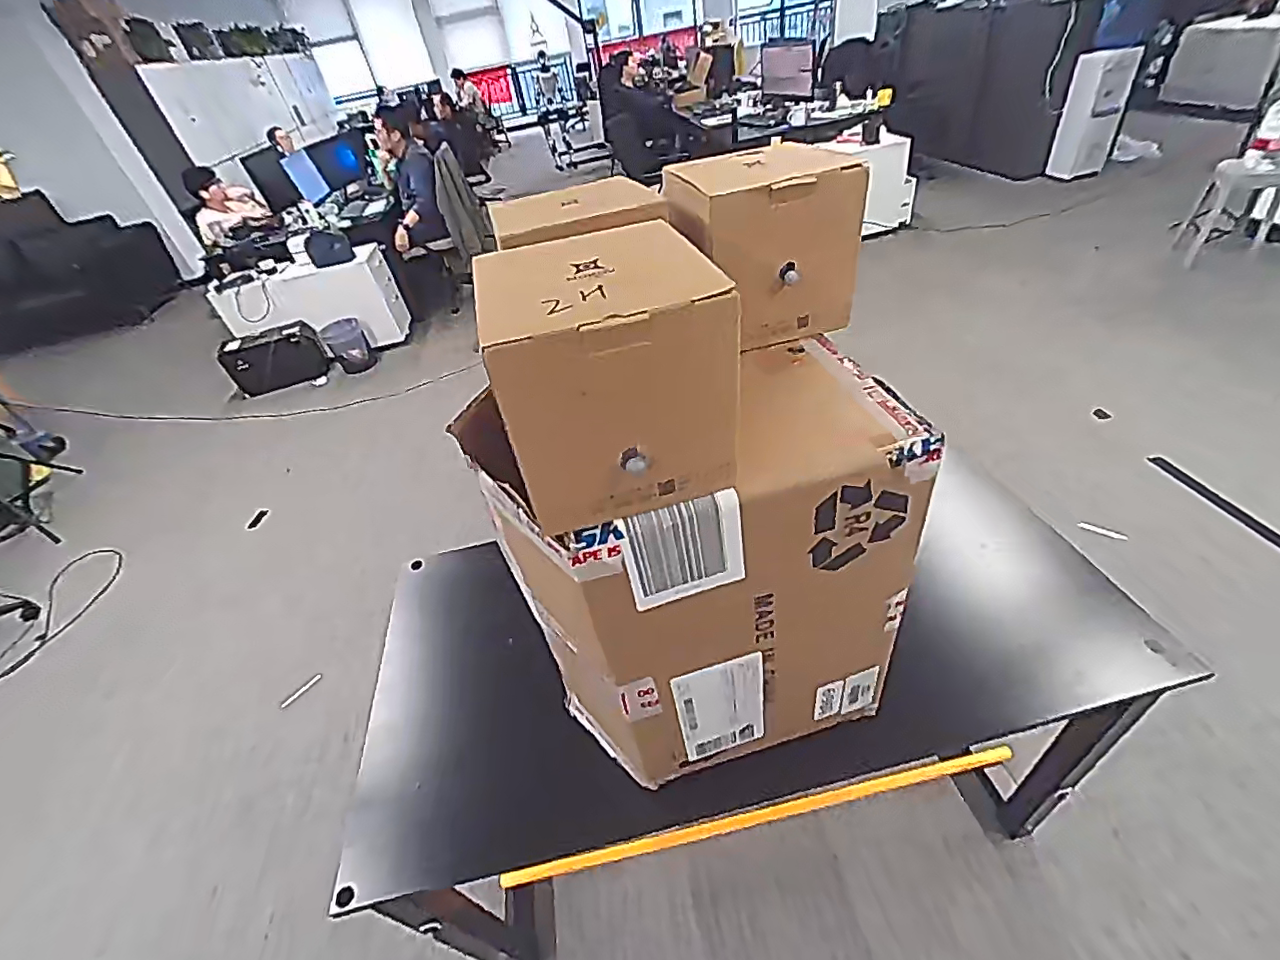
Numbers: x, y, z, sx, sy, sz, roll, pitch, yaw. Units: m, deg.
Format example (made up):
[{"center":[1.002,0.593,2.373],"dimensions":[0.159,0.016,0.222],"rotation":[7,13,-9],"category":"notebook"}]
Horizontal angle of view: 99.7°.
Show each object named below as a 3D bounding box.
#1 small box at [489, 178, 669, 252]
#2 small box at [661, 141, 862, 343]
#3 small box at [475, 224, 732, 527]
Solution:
[{"center":[-0.064,-0.229,0.624],"dimensions":[0.168,0.176,0.179],"rotation":[-18,40,-8],"category":"small box"},{"center":[0.130,-0.271,0.629],"dimensions":[0.168,0.176,0.179],"rotation":[-13,41,-6],"category":"small box"},{"center":[-0.031,-0.090,0.450],"dimensions":[0.168,0.176,0.179],"rotation":[-15,42,-6],"category":"small box"}]
